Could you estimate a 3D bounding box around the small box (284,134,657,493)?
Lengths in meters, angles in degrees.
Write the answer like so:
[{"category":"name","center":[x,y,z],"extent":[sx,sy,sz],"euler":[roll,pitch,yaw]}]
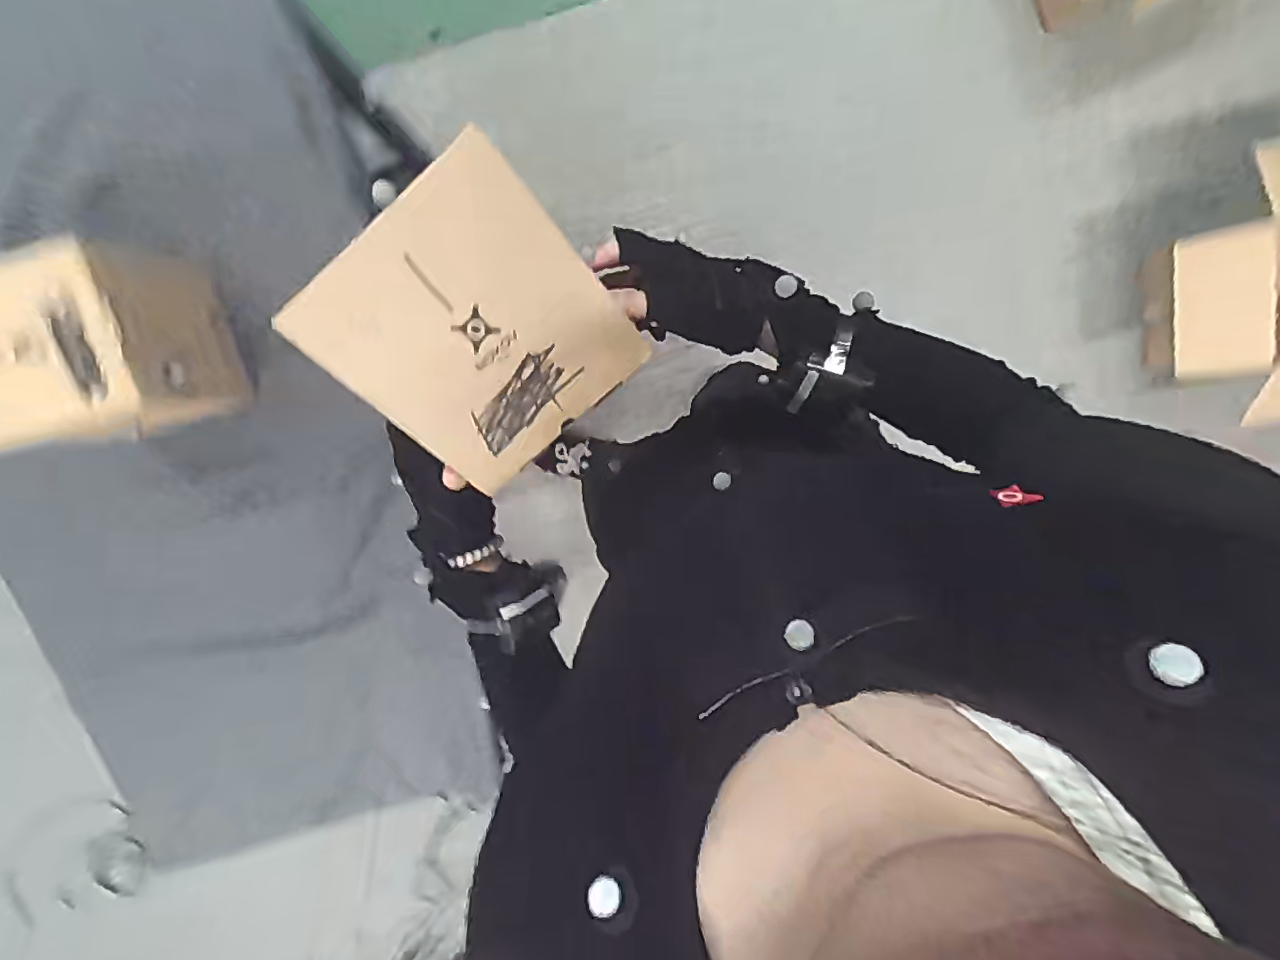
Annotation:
[{"category":"small box","center":[-0.118,-0.130,0.416],"extent":[0.168,0.176,0.179],"euler":[-39,123,6]}]
